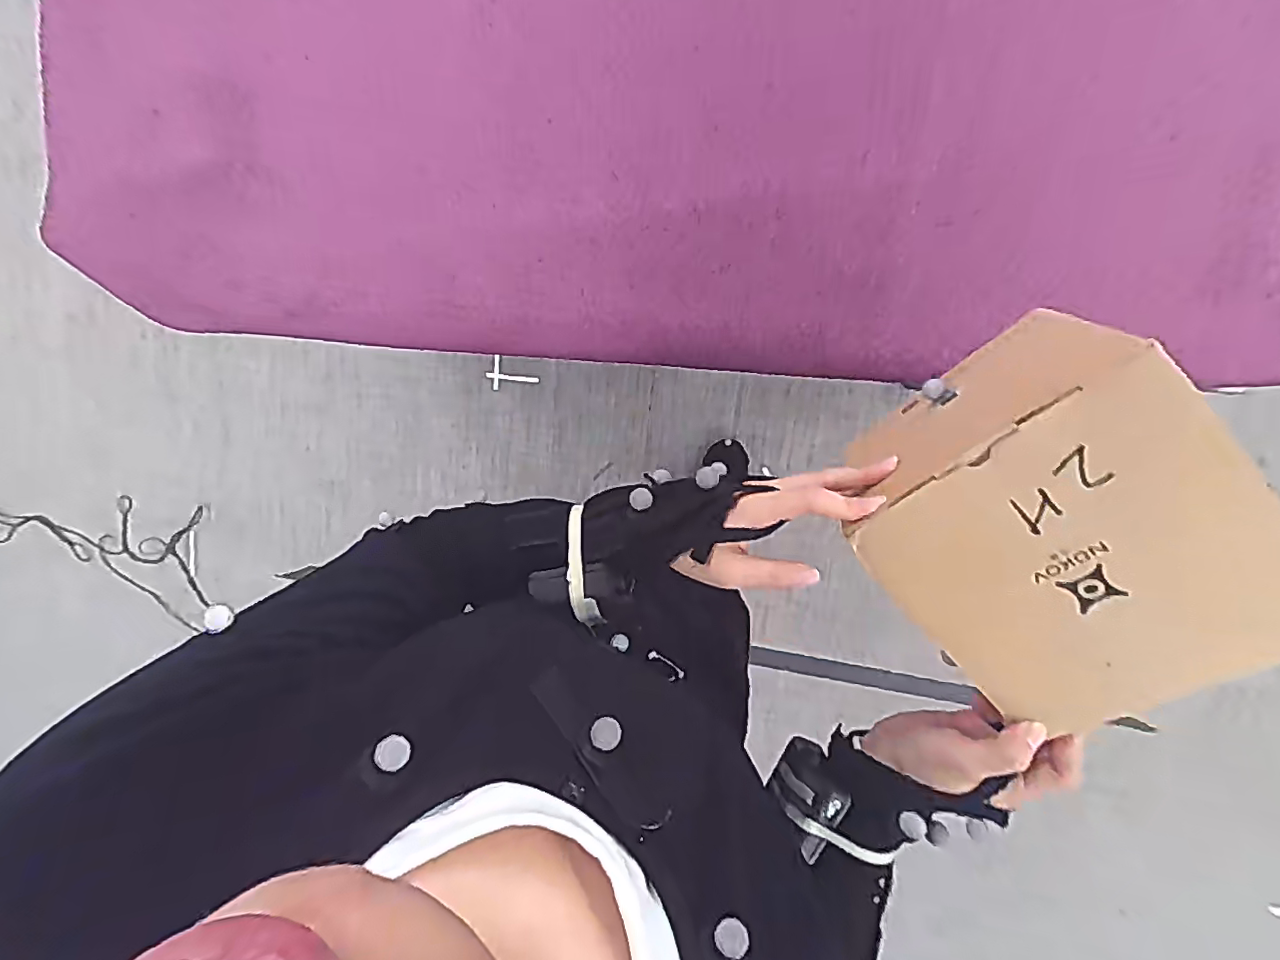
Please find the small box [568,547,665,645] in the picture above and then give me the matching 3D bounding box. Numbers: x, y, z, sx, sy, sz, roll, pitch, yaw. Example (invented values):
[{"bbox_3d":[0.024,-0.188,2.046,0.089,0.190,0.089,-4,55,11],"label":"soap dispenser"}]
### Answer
[{"bbox_3d":[-0.055,0.259,1.239,0.179,0.176,0.168,25,82,3],"label":"small box"}]
